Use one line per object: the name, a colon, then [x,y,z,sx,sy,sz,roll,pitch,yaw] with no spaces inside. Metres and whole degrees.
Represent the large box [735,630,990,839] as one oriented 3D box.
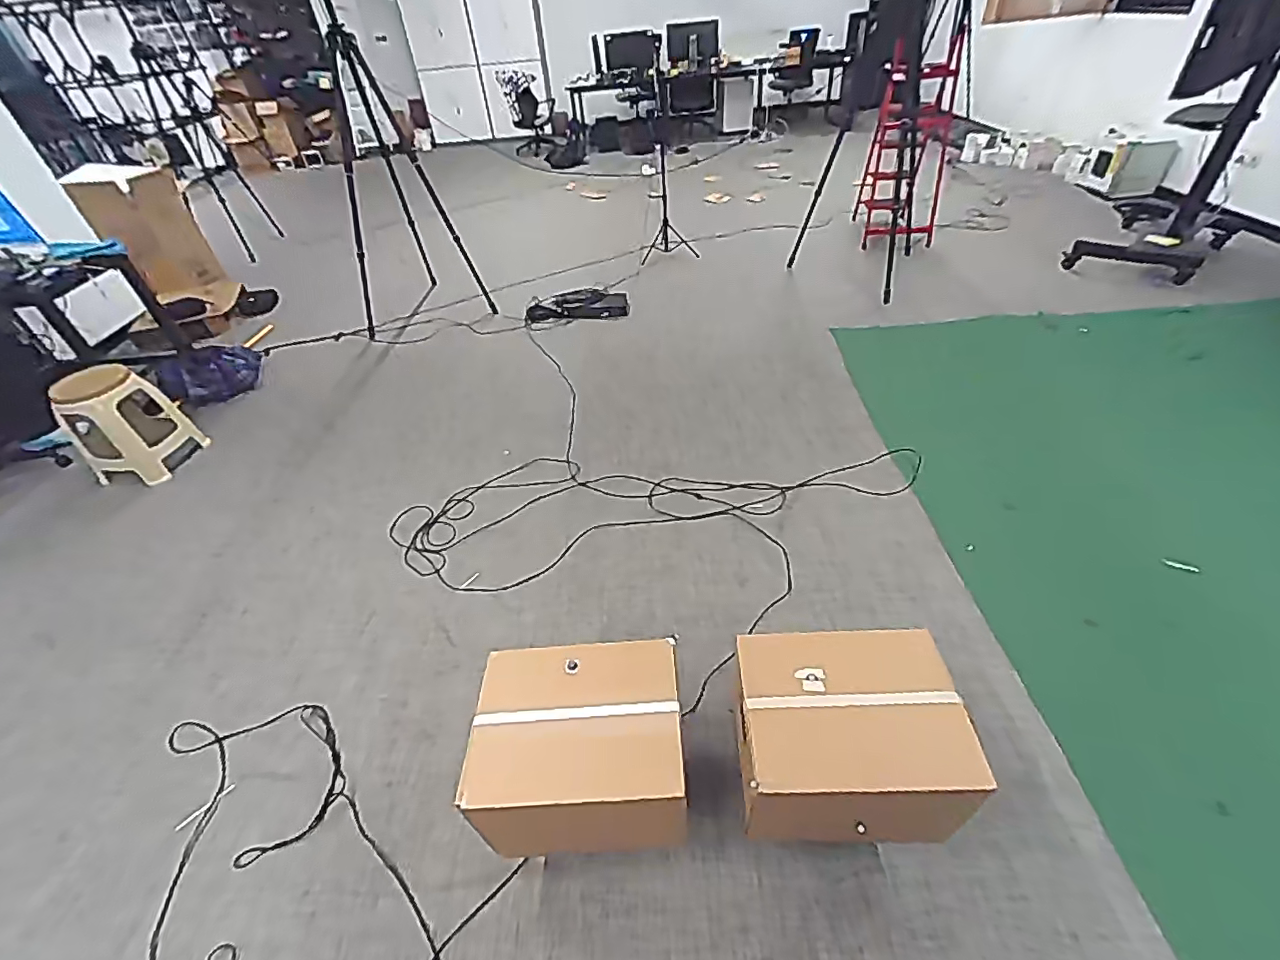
large box: [0.422,0.544,1.147,0.408,0.320,0.320,-3,42,4]
